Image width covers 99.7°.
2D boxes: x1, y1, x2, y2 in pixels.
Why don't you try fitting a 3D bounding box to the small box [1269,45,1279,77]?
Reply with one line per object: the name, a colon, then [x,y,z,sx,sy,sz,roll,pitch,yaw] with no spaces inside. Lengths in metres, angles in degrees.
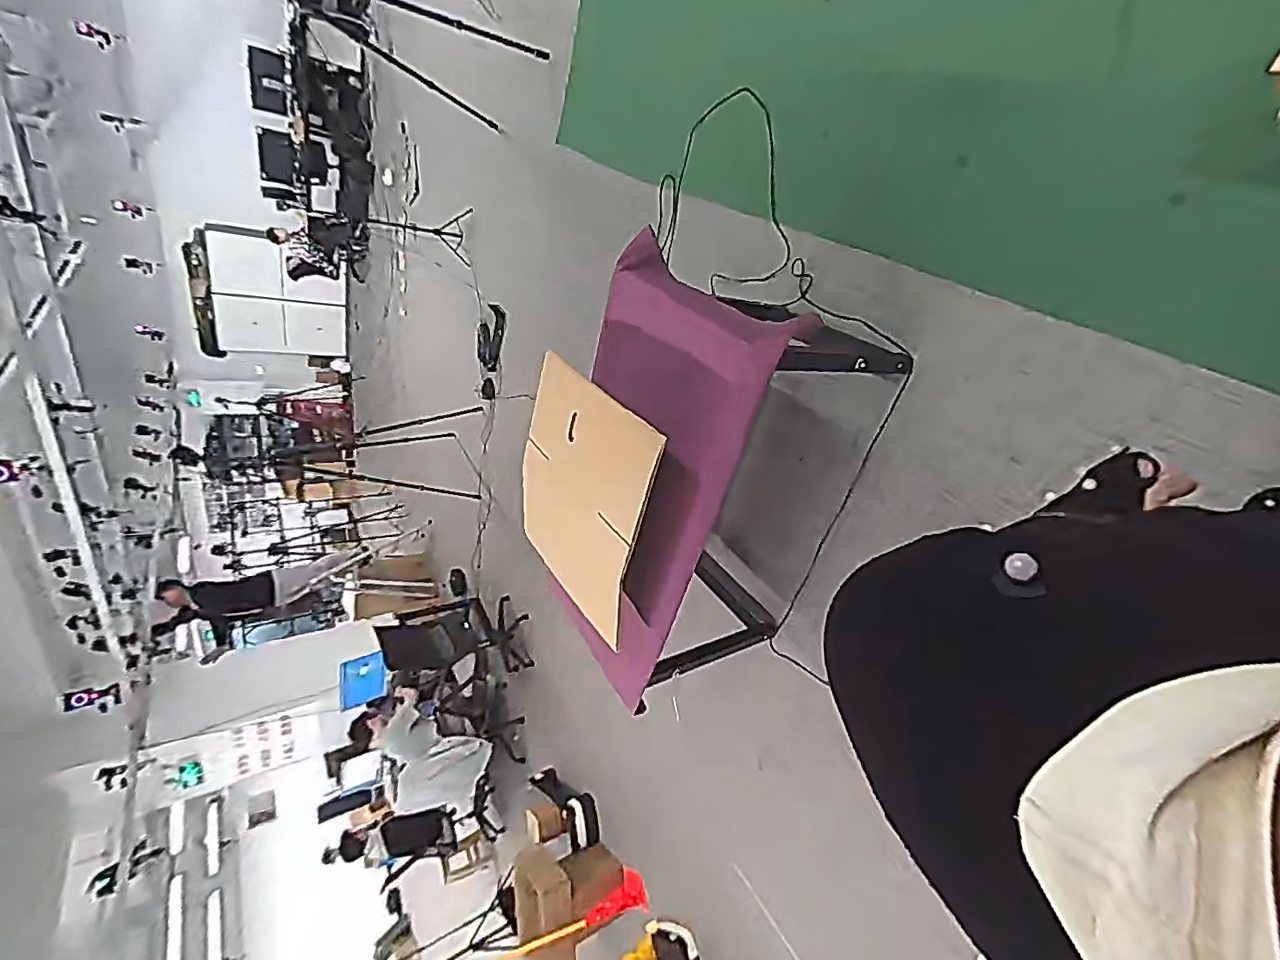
small box: [1.089,-0.666,0.775,0.168,0.176,0.179,49,131,38]
